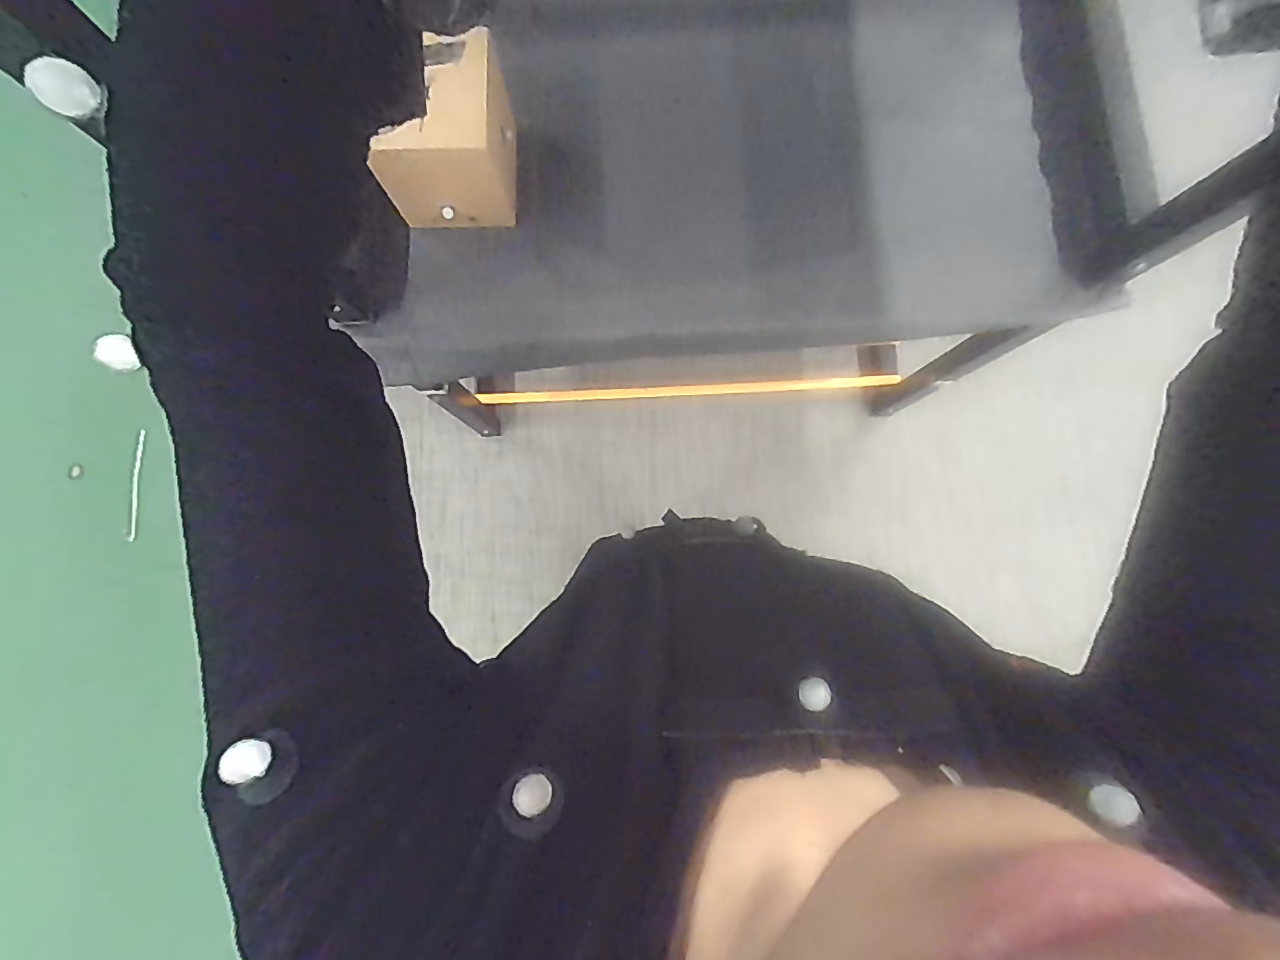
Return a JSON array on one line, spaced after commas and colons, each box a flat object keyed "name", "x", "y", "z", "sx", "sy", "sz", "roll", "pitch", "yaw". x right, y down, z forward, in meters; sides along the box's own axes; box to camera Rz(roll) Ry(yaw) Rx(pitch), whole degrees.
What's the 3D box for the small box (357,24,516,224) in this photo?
[{"name": "small box", "x": -0.276, "y": -0.494, "z": 0.768, "sx": 0.168, "sy": 0.176, "sz": 0.179, "roll": -2, "pitch": 83, "yaw": -1}]
